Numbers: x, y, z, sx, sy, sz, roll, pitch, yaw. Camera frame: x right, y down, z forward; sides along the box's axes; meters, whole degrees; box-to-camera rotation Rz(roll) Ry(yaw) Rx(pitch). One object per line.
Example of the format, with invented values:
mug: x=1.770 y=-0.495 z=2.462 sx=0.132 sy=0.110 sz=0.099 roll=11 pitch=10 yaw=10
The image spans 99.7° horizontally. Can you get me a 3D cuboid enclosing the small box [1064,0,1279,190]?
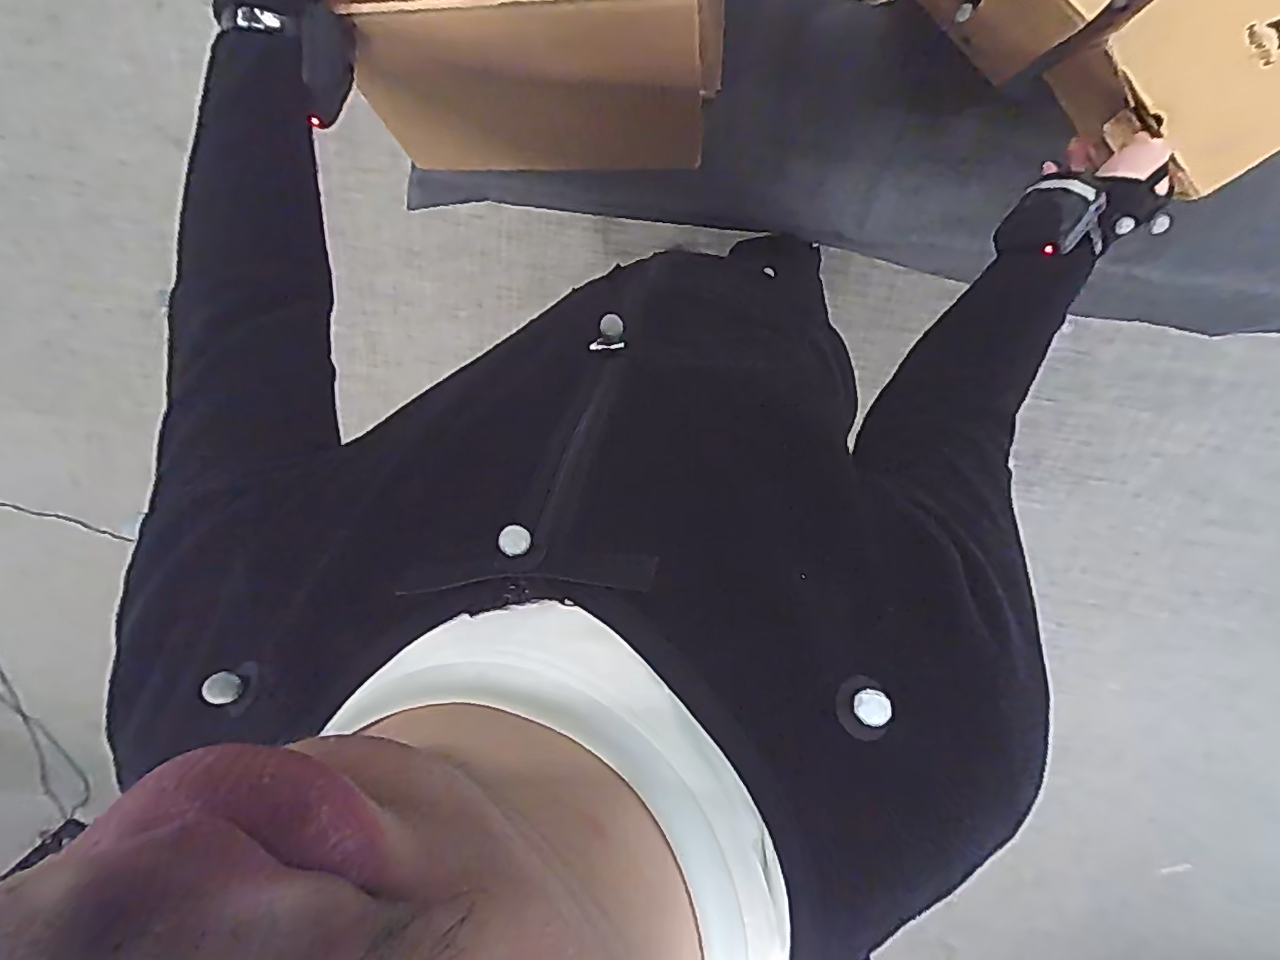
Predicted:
small box: x=0.524 y=-0.393 z=0.482 sx=0.168 sy=0.176 sz=0.179 roll=46 pitch=123 yaw=-11
